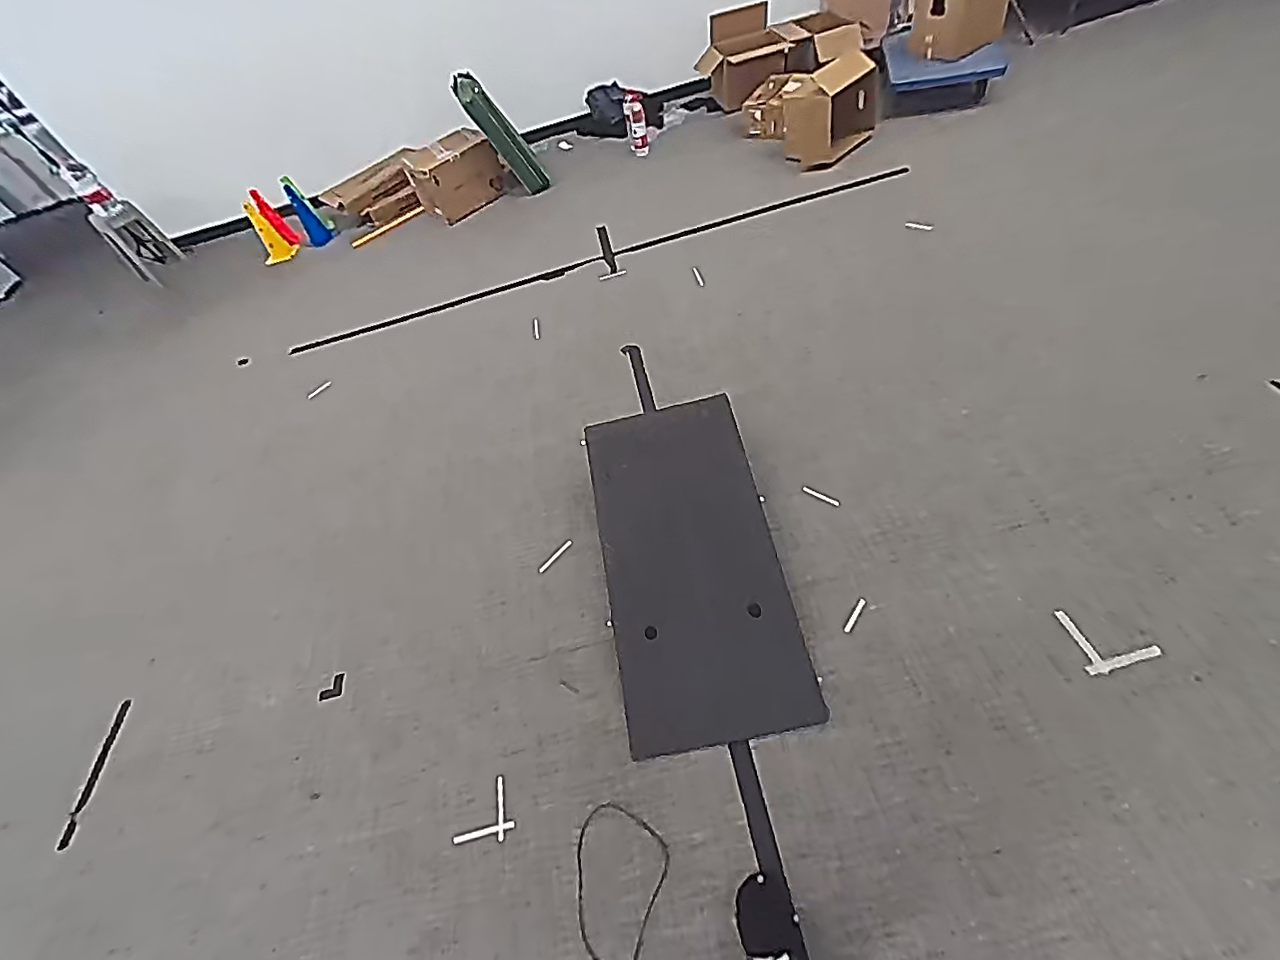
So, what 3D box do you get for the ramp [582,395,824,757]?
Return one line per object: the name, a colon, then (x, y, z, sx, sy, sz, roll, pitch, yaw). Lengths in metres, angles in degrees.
ramp: (0.130, 0.204, 1.558, 0.509, 0.206, 0.991, -14, 51, 2)
